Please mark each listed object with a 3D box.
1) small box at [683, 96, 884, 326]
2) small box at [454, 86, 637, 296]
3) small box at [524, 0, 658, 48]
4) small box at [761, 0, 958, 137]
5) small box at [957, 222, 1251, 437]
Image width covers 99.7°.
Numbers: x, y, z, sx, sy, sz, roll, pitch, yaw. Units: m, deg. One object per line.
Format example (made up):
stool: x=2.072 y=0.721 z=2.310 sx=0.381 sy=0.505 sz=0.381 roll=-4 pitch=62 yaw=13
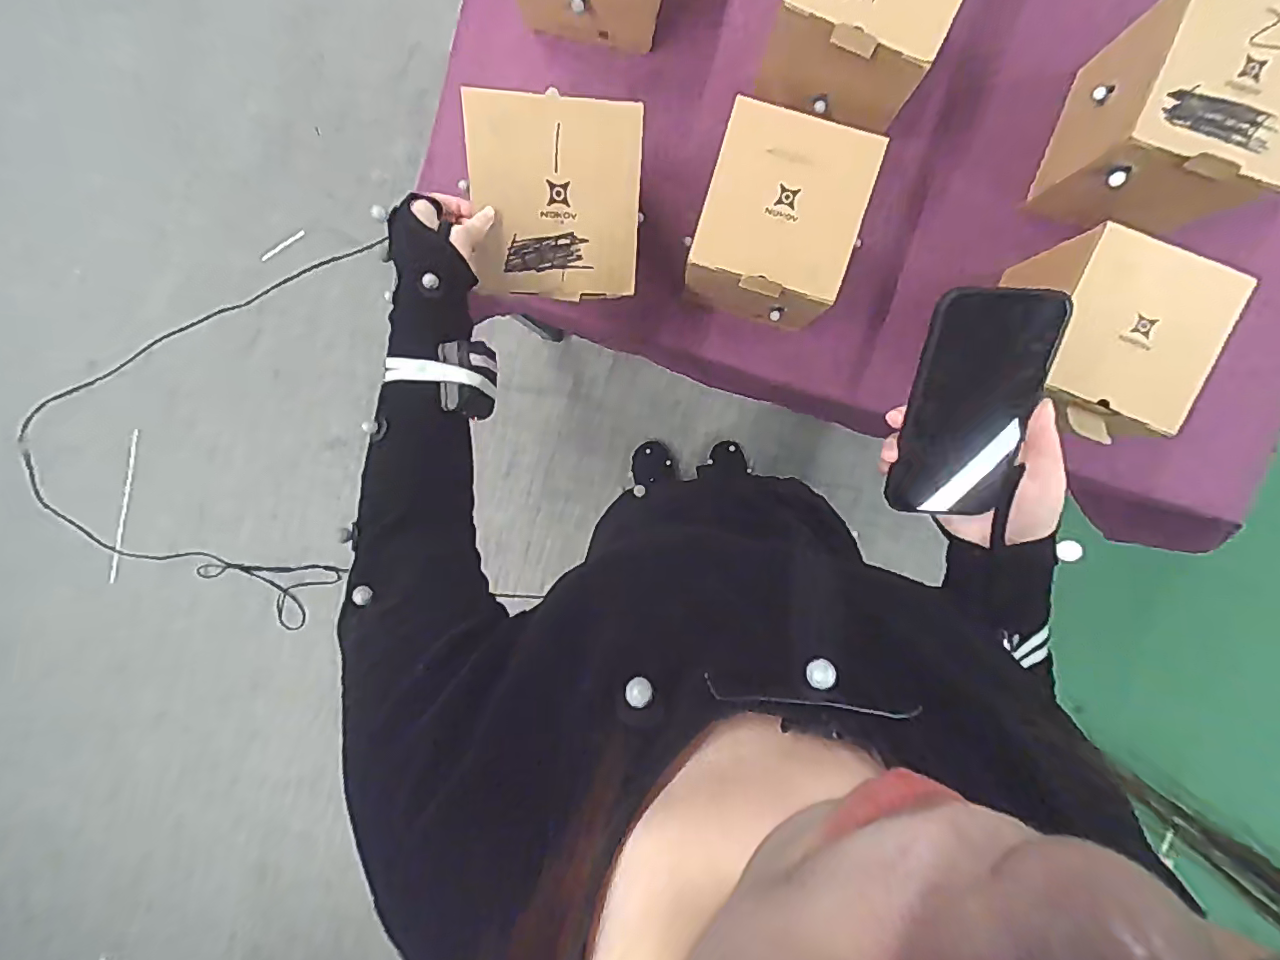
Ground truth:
small box: x=0.154 y=-0.299 z=0.645 sx=0.168 sy=0.176 sz=0.179 roll=18 pitch=96 yaw=0
small box: x=-0.103 y=-0.308 z=0.592 sx=0.168 sy=0.176 sz=0.179 roll=-4 pitch=119 yaw=-12
small box: x=-0.054 y=-0.648 z=0.618 sx=0.168 sy=0.176 sz=0.179 roll=13 pitch=98 yaw=1
small box: x=0.252 y=-0.533 z=0.612 sx=0.168 sy=0.176 sz=0.179 roll=24 pitch=97 yaw=1
small box: x=0.518 y=-0.162 z=0.637 sx=0.168 sy=0.176 sz=0.179 roll=22 pitch=97 yaw=1
